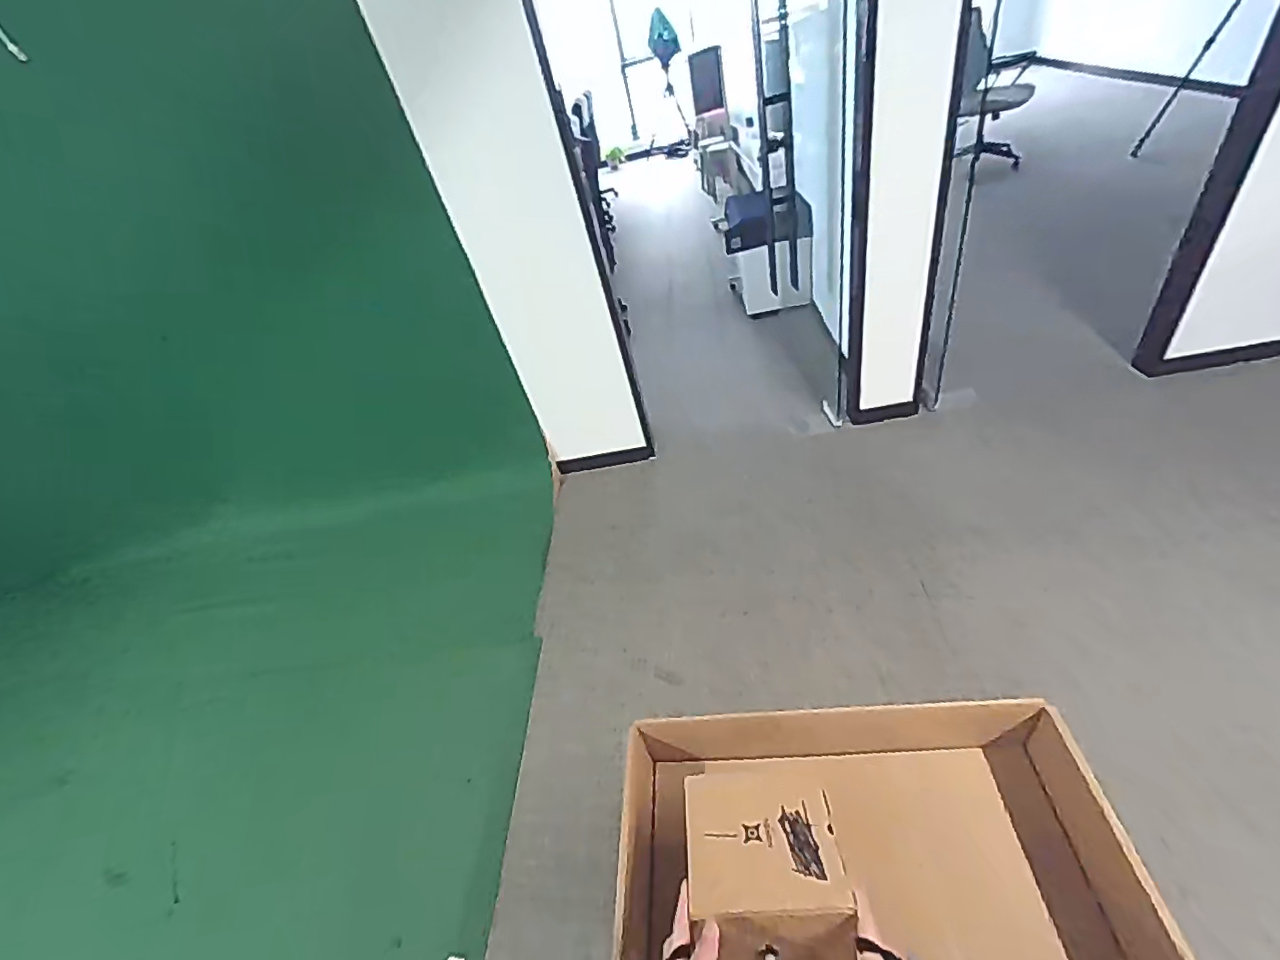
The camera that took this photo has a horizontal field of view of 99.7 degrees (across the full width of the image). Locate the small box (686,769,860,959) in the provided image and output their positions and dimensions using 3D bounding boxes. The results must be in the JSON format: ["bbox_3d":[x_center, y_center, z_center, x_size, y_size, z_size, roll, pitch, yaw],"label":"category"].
[{"bbox_3d":[0.153,0.482,0.653,0.179,0.176,0.168,-8,25,8],"label":"small box"}]
